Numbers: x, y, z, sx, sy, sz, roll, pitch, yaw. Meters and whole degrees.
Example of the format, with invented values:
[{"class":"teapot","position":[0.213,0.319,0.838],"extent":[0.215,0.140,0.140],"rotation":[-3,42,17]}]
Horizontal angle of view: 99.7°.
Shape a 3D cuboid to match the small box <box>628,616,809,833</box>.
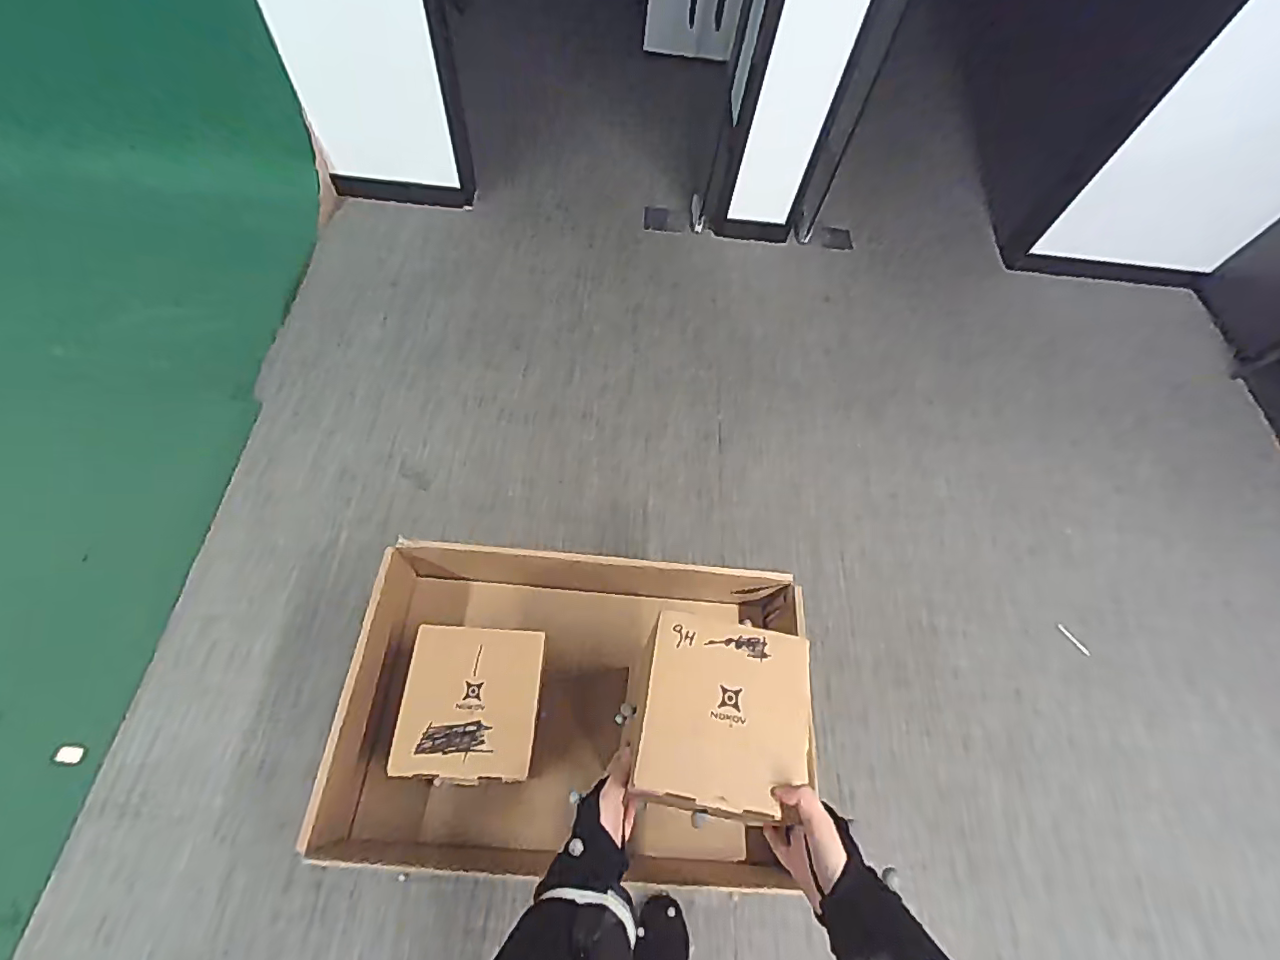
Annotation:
[{"class":"small box","position":[0.081,0.277,0.608],"extent":[0.168,0.176,0.179],"rotation":[11,58,2]}]
